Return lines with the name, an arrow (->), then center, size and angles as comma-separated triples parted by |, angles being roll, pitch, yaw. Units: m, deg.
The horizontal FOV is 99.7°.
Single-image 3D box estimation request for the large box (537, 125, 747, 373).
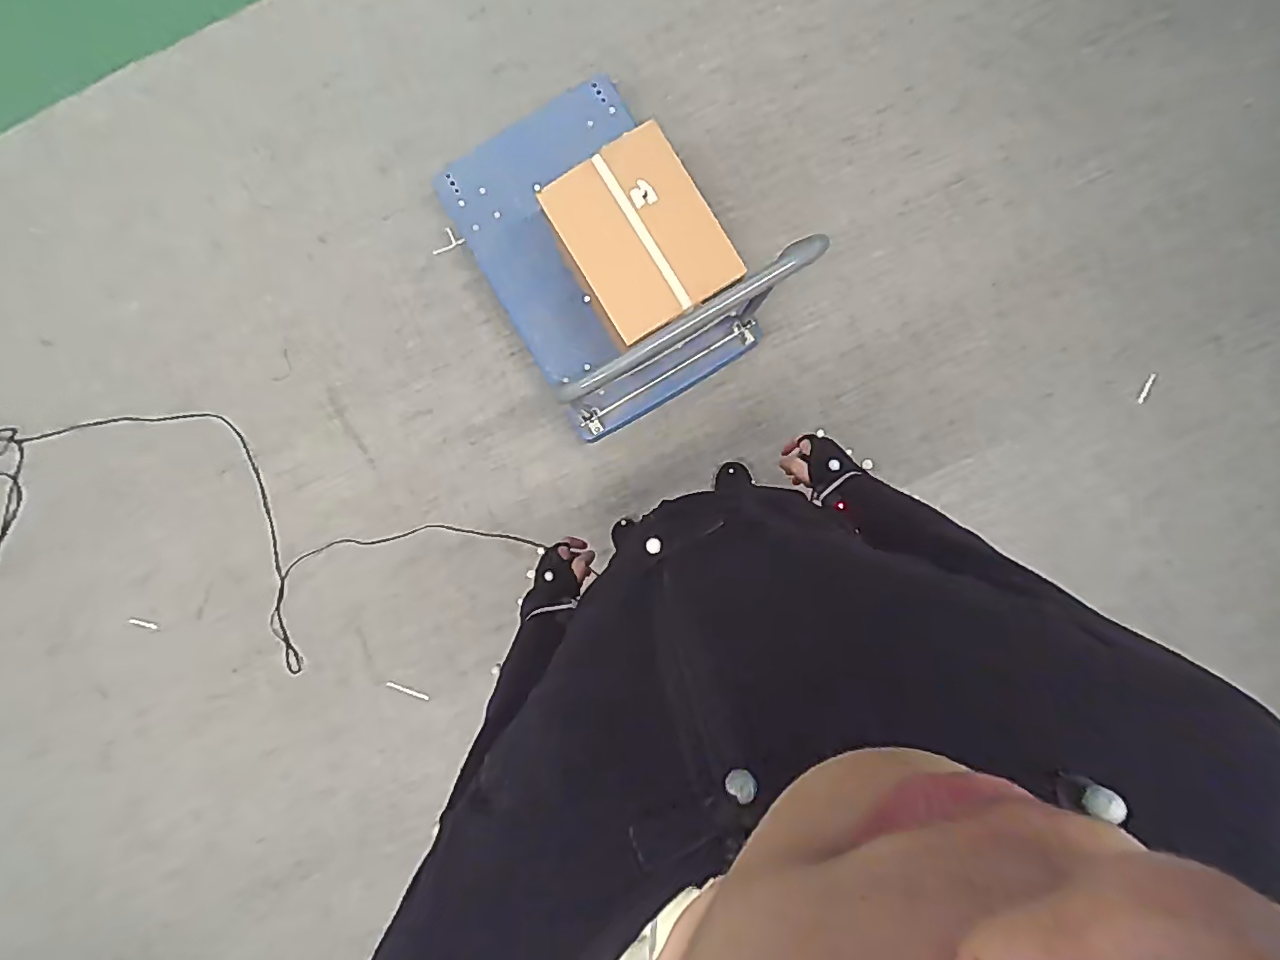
large box -> 0.011, -0.535, 1.335 | 0.320, 0.320, 0.408 | -31, 88, 1
